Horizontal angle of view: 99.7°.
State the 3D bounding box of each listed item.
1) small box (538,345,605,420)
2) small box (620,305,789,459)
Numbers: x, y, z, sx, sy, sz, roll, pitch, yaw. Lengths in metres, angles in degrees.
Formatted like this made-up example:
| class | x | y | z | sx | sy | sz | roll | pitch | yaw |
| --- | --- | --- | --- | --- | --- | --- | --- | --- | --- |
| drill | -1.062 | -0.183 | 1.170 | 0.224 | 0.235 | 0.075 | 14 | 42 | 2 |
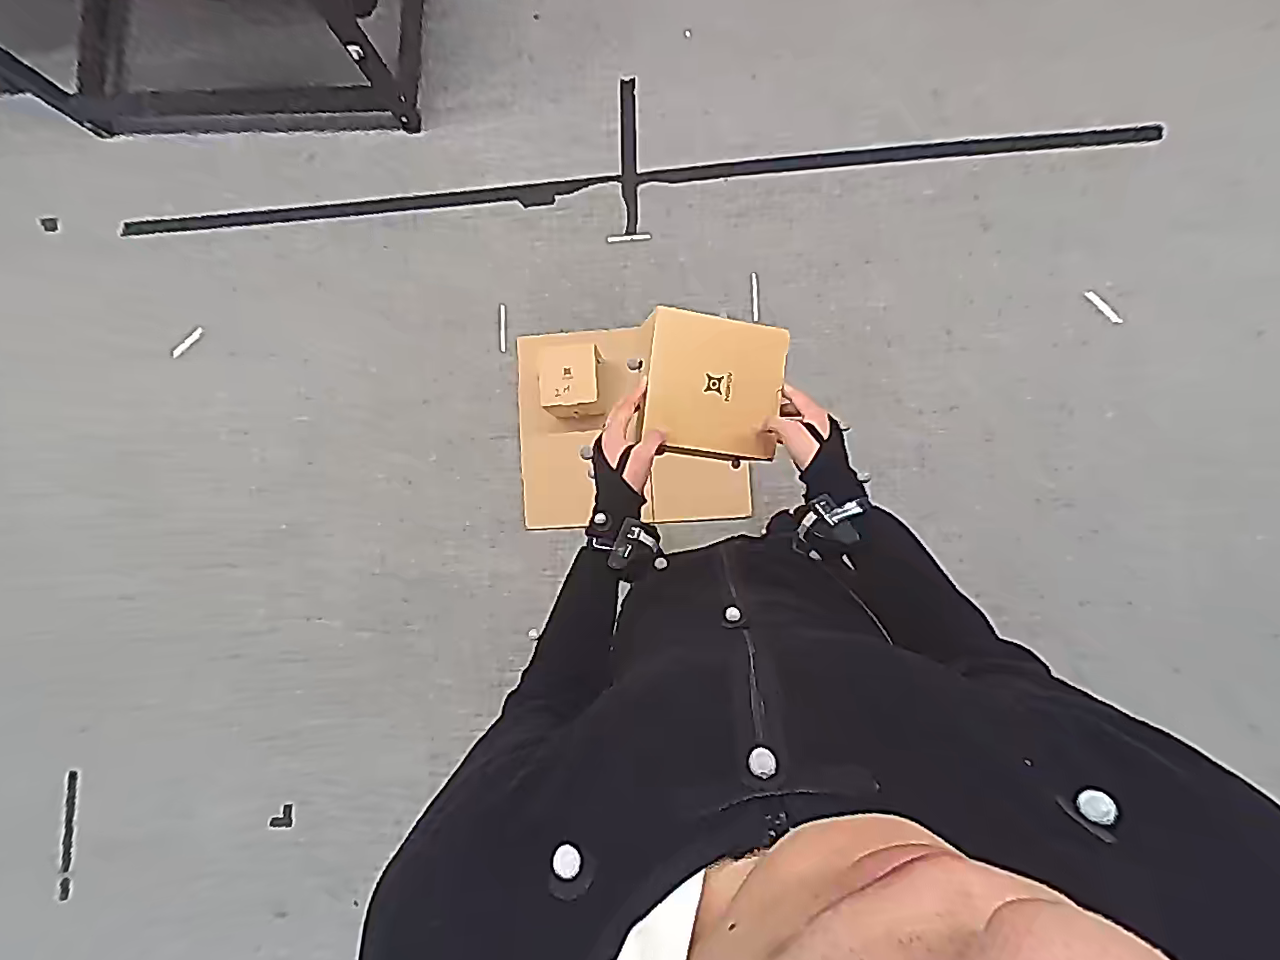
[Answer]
| class | x | y | z | sx | sy | sz | roll | pitch | yaw |
| --- | --- | --- | --- | --- | --- | --- | --- | --- | --- |
| small box | -0.199 | -0.284 | 1.600 | 0.168 | 0.176 | 0.179 | -4 | 86 | 5 |
| small box | 0.075 | -0.119 | 0.732 | 0.179 | 0.176 | 0.168 | 7 | 91 | -12 |
